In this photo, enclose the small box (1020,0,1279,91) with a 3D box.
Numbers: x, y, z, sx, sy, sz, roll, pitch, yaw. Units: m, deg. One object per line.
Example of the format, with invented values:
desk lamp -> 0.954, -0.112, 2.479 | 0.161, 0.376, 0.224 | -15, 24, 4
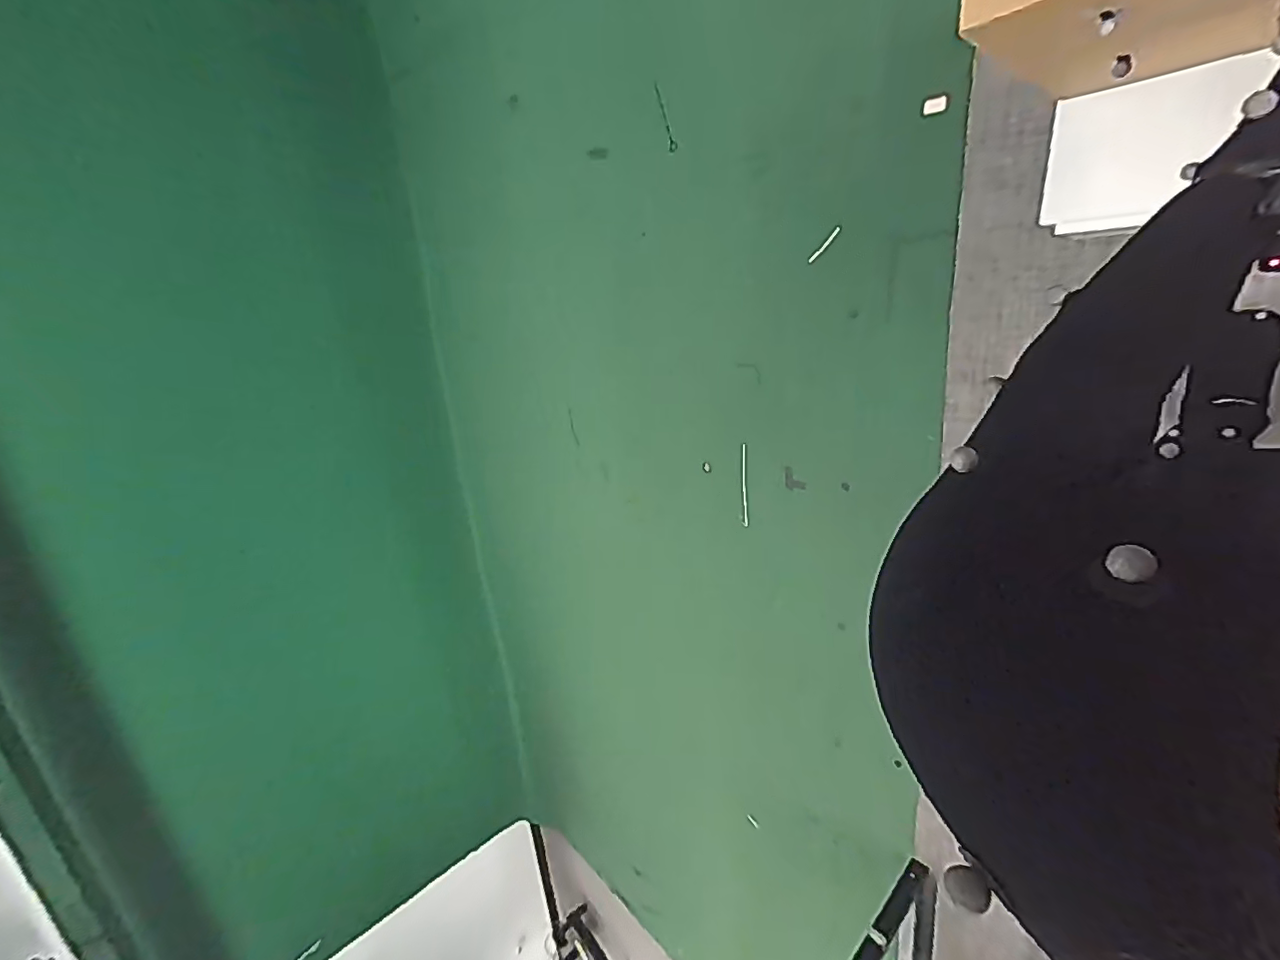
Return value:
small box -> 0.495, -0.499, 0.511 | 0.179, 0.176, 0.168 | 14, 116, 45
